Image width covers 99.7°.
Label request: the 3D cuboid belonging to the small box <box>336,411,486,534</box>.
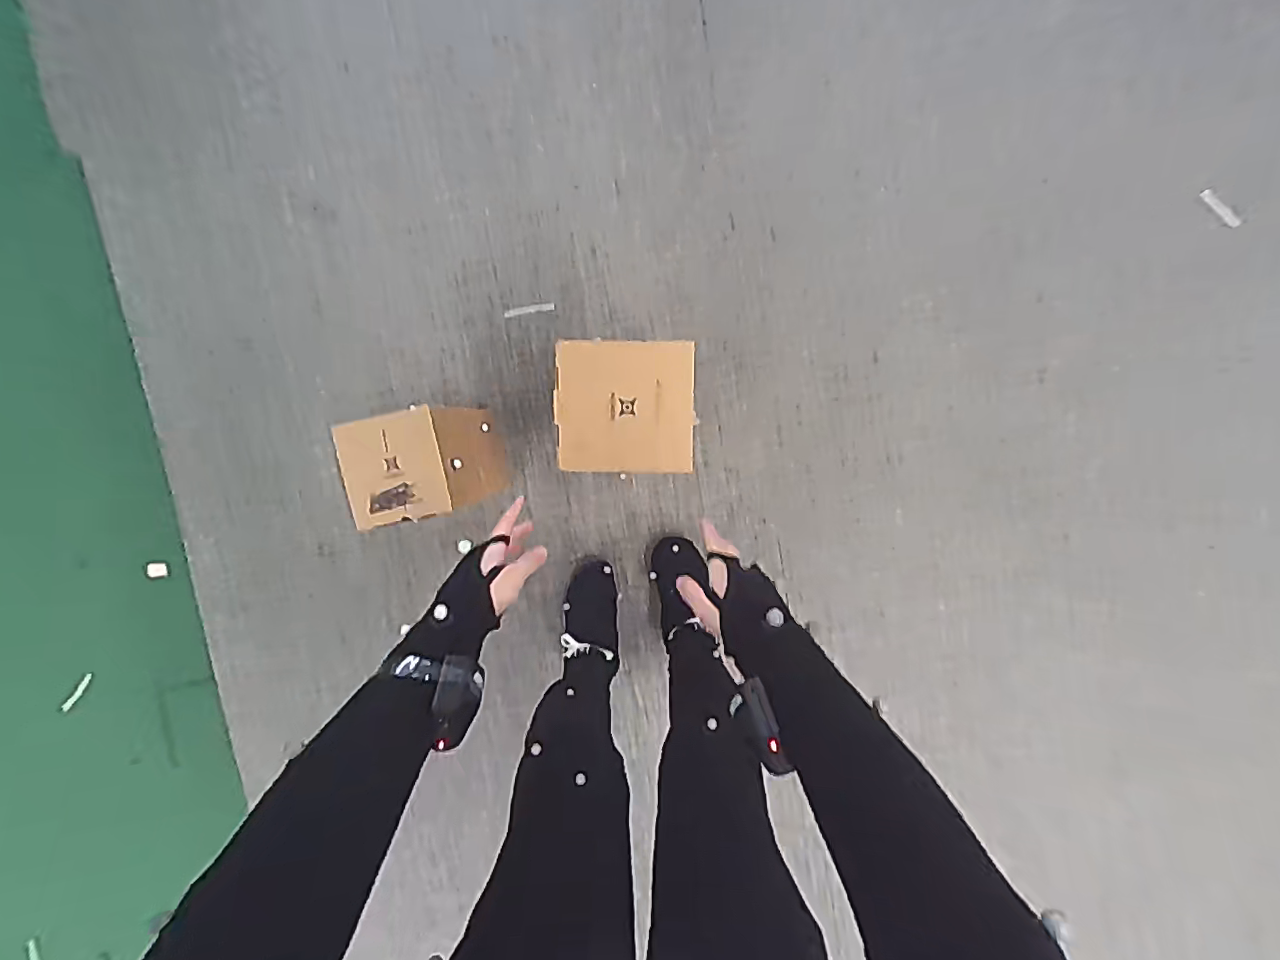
[{"bbox_3d":[-0.387,-0.019,0.946,0.168,0.176,0.179,-12,94,3],"label":"small box"}]

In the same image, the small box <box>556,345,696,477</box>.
[{"bbox_3d":[-0.015,-0.095,0.761,0.179,0.176,0.168,1,97,2],"label":"small box"}]
